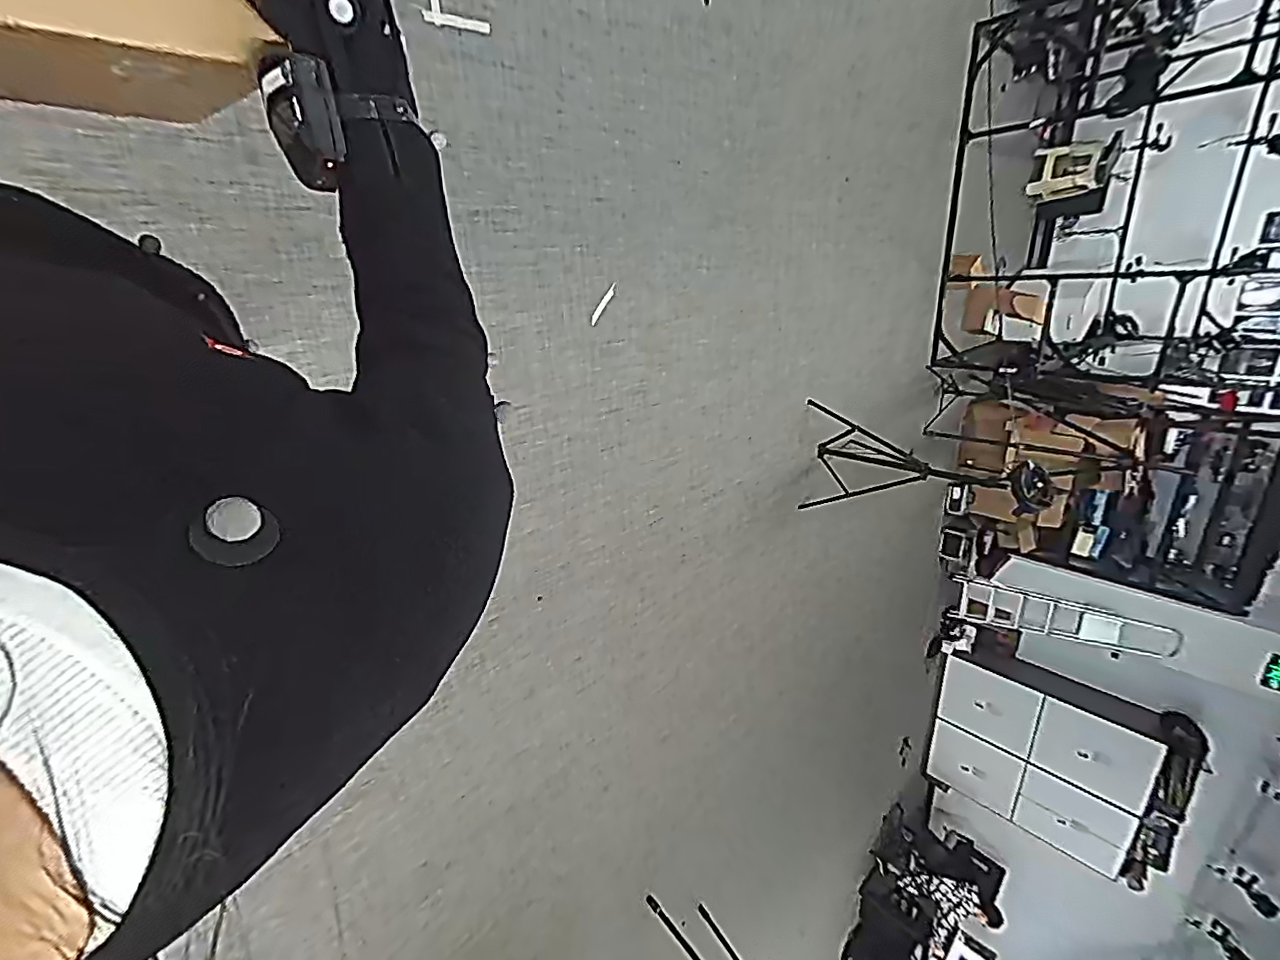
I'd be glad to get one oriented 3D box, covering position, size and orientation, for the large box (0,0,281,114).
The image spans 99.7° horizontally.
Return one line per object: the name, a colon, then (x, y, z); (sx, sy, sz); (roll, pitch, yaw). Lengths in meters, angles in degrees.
large box: (-0.479, -0.397, 0.257); (0.408, 0.320, 0.320); (-23, 125, -40)
